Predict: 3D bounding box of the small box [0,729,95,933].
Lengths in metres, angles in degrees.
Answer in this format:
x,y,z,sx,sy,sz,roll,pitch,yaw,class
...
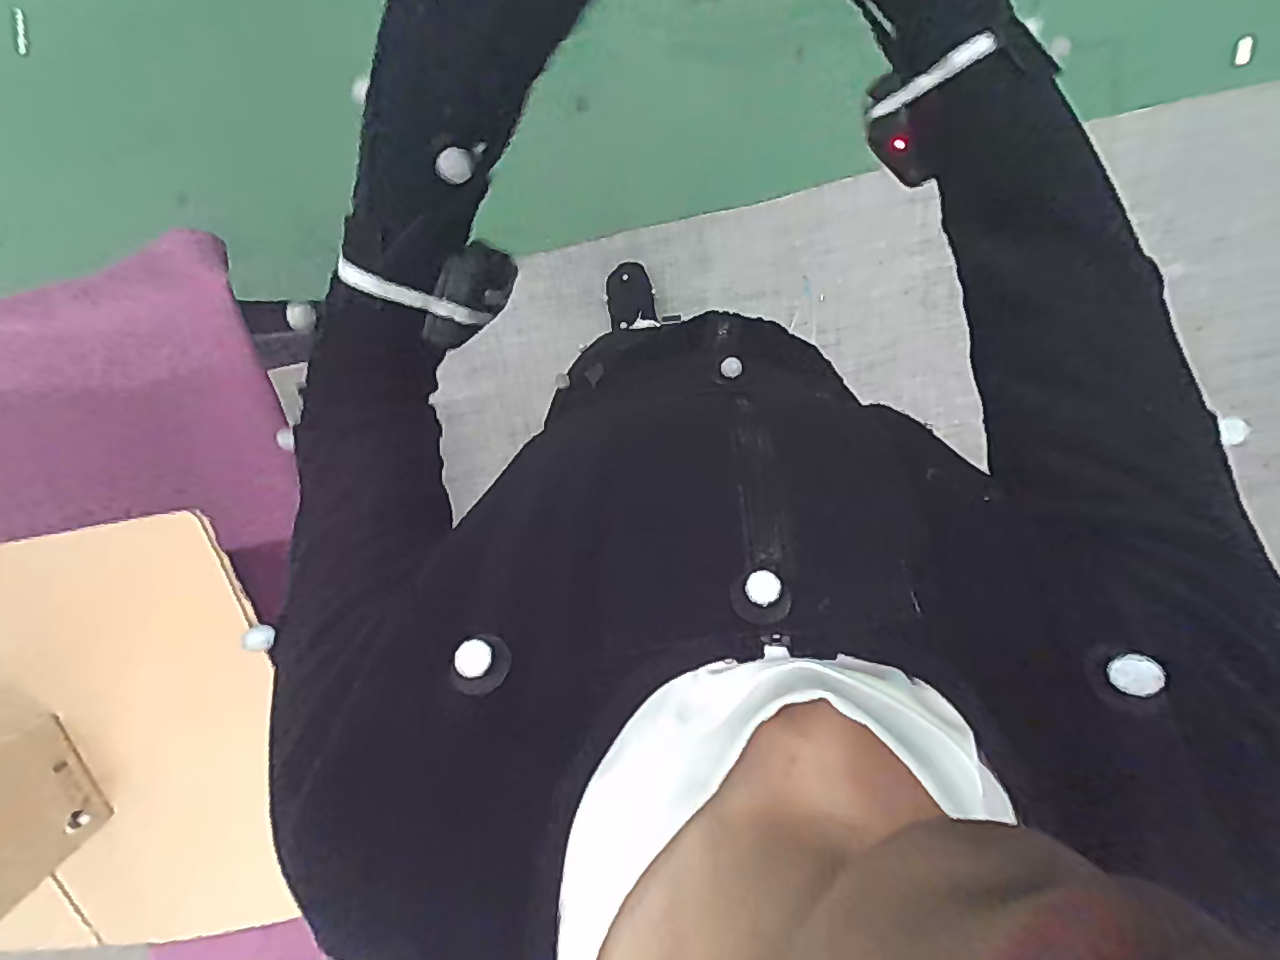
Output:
x,y,z,sx,sy,sz,roll,pitch,yaw,class
-0.768,0.401,0.590,0.179,0.176,0.168,-11,107,4,small box
